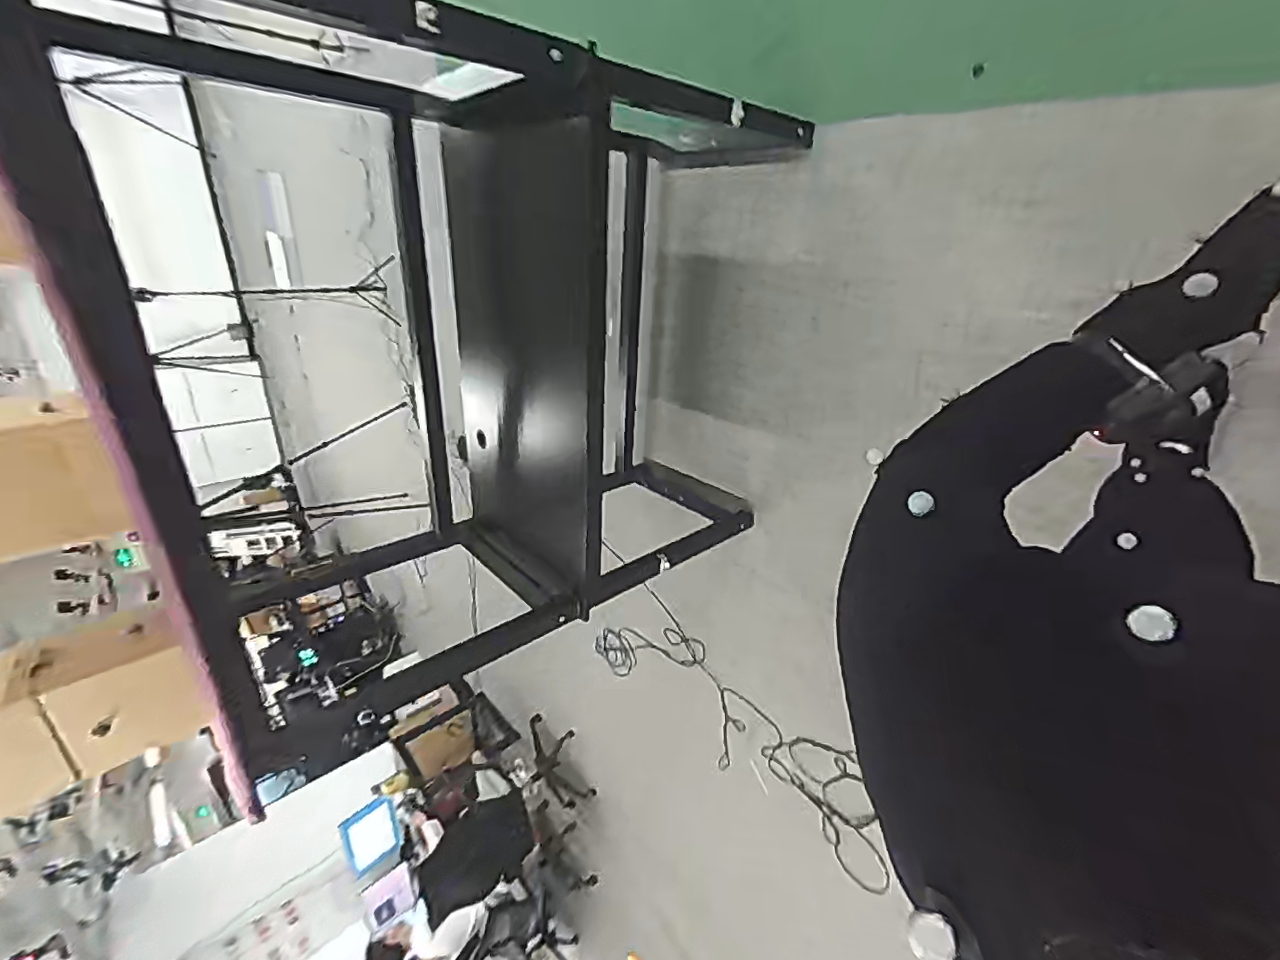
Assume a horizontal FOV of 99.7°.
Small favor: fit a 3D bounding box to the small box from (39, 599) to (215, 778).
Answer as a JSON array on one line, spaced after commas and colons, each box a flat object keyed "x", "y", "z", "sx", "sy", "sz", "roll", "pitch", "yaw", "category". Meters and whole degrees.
[{"x": -0.826, "y": 0.328, "z": 0.884, "sx": 0.168, "sy": 0.176, "sz": 0.179, "roll": 25, "pitch": 122, "yaw": 41, "category": "small box"}]

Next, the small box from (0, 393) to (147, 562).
[{"x": -0.821, "y": -0.010, "z": 0.753, "sx": 0.168, "sy": 0.176, "sz": 0.179, "roll": 27, "pitch": 123, "yaw": 43, "category": "small box"}]
